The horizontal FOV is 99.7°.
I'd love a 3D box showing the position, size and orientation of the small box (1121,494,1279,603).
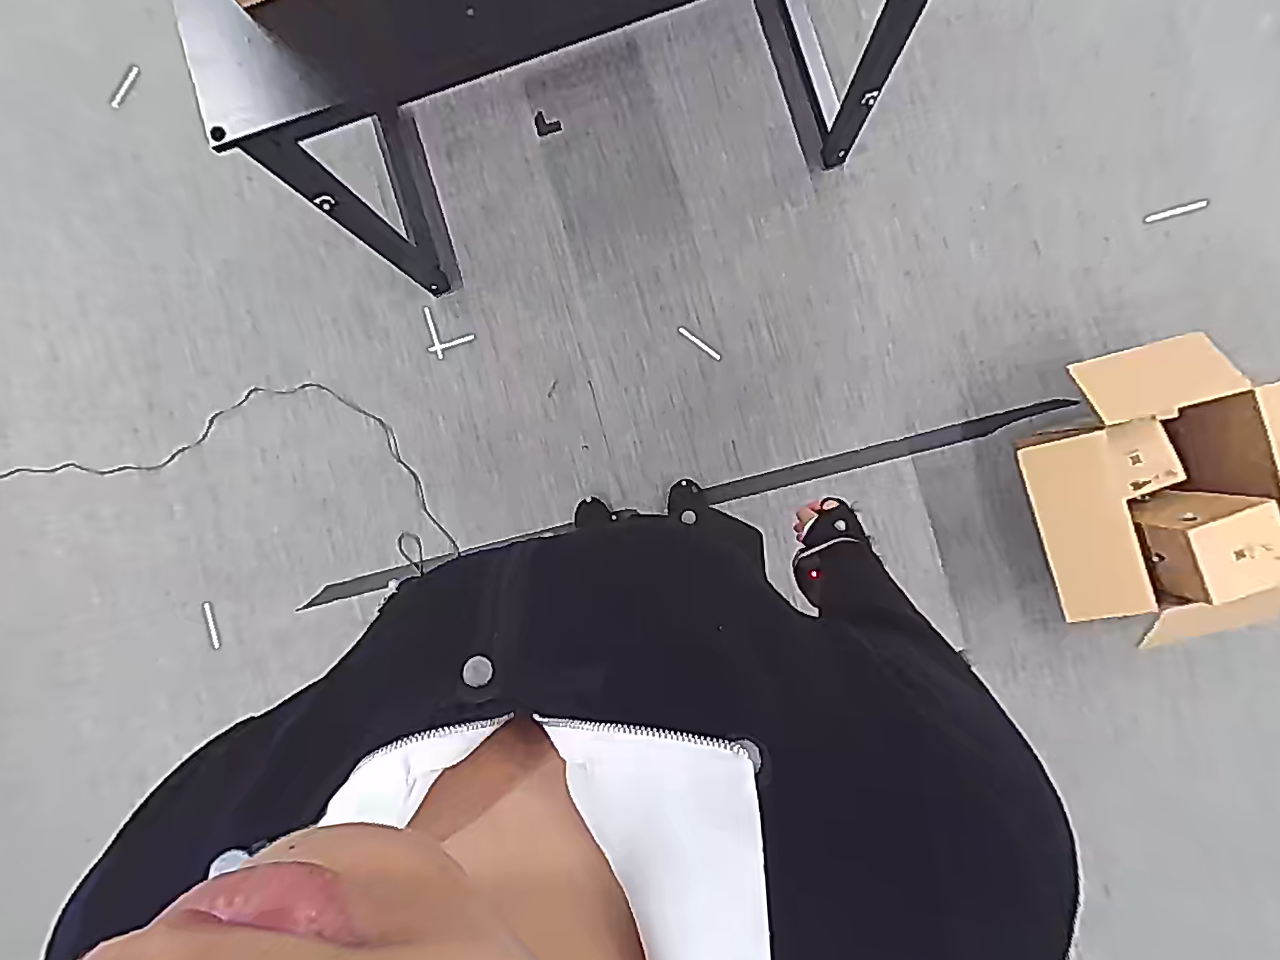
[{"bbox_3d":[1.188,0.139,1.155,0.179,0.176,0.168,-22,93,4],"label":"small box"}]
